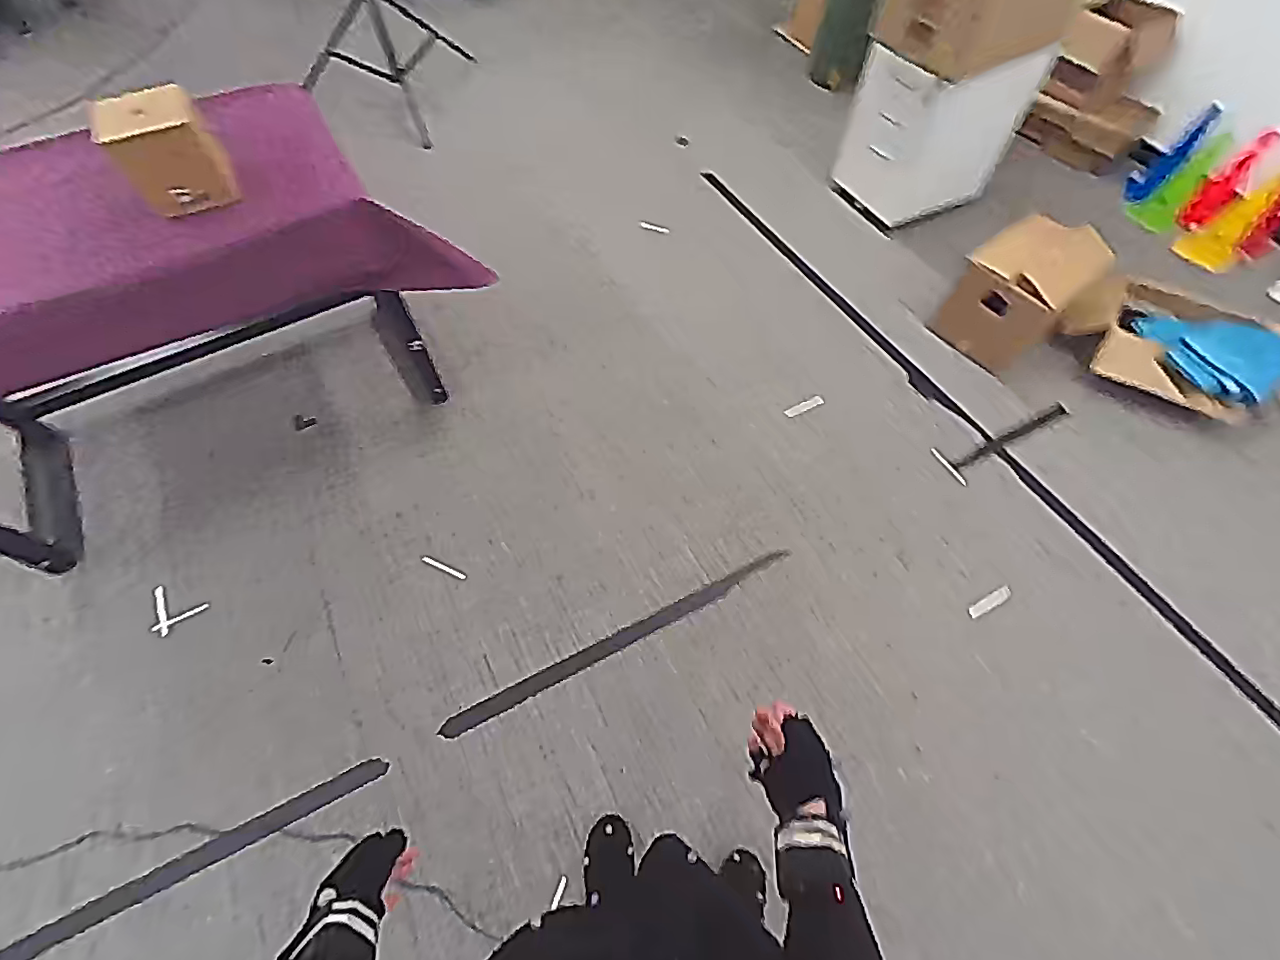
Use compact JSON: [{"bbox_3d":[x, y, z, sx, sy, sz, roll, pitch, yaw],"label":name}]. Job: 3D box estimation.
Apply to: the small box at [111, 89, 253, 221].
[{"bbox_3d":[-0.979,-0.696,1.165,0.168,0.176,0.179,-26,64,-14],"label":"small box"}]
